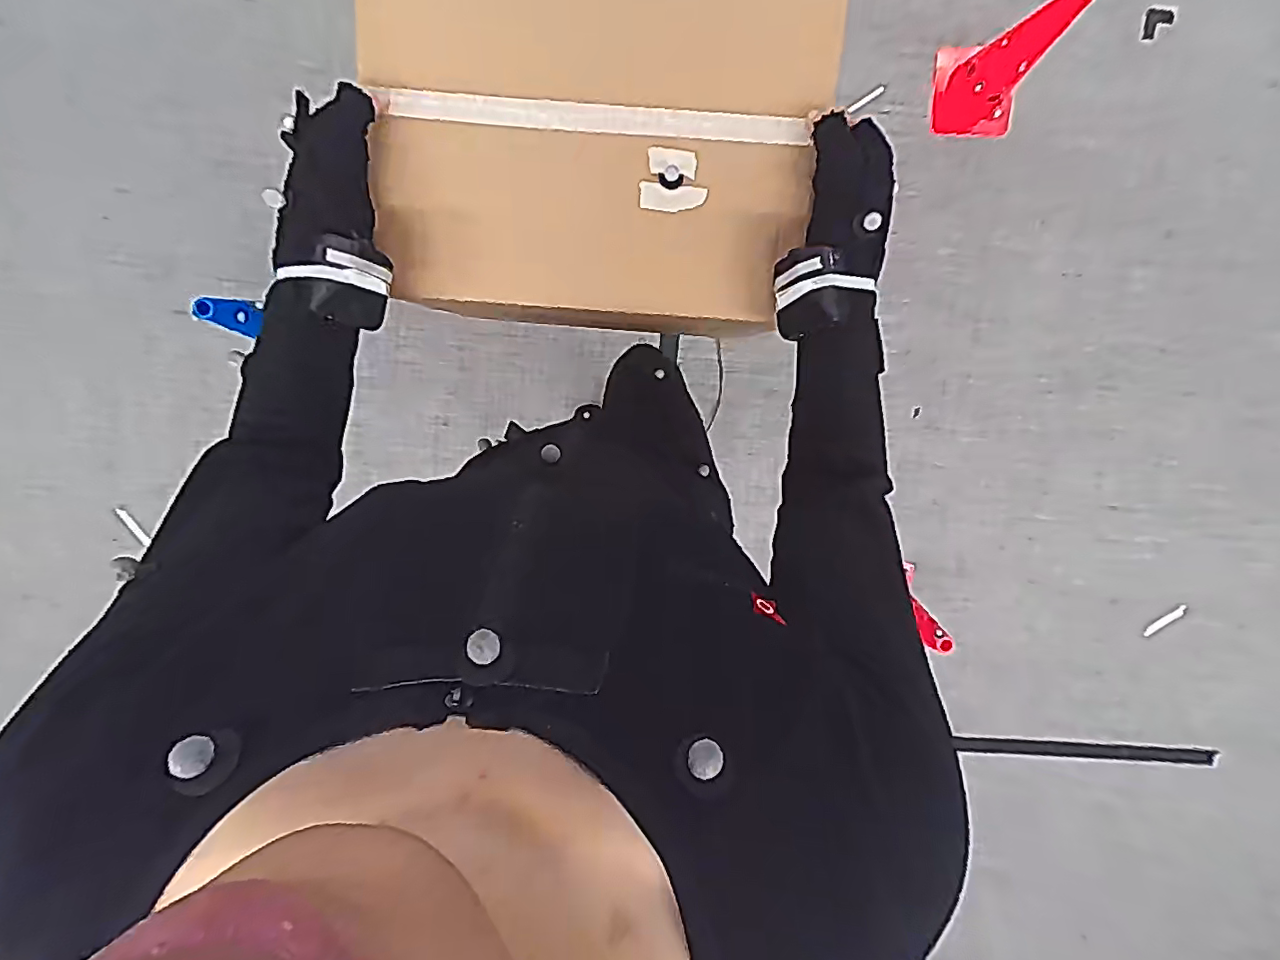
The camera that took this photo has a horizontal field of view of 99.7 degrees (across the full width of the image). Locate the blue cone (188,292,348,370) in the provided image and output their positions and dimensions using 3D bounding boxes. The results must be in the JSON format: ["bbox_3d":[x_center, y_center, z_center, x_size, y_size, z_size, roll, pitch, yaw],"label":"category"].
[{"bbox_3d":[-0.856,-0.362,1.240,0.192,0.380,0.193,8,98,-1],"label":"blue cone"}]

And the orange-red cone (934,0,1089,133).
[{"bbox_3d":[0.833,-0.948,1.163,0.198,0.360,0.199,2,97,-2],"label":"orange-red cone"}]

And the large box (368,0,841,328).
[{"bbox_3d":[-0.037,-0.351,0.614,0.408,0.320,0.320,4,103,-2],"label":"large box"}]
